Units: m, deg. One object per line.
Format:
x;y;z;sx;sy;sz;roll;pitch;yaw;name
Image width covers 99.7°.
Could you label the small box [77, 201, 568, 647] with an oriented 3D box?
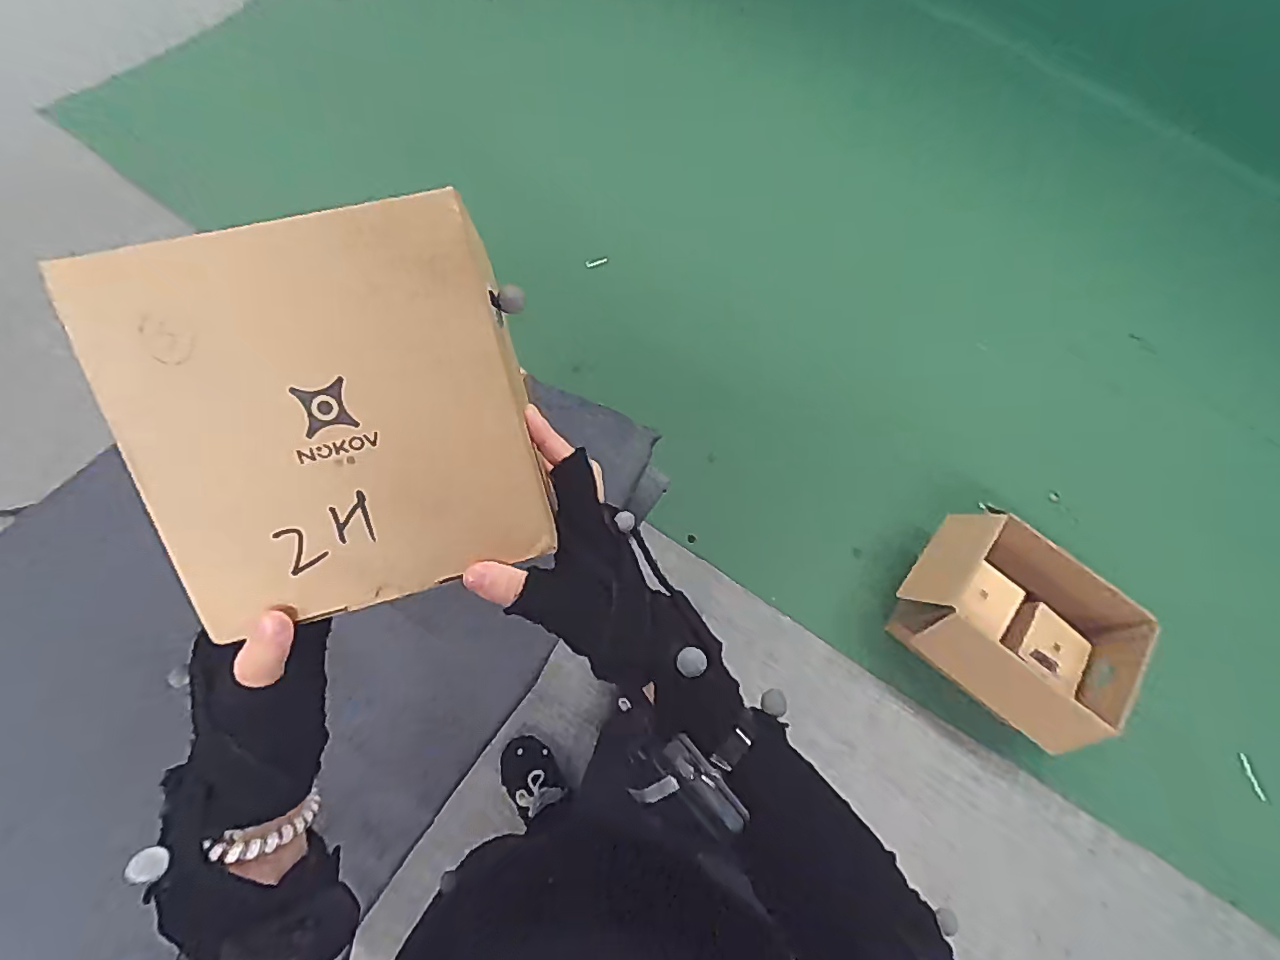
-0.145;-0.036;0.321;0.168;0.176;0.179;-14;102;-7;small box
